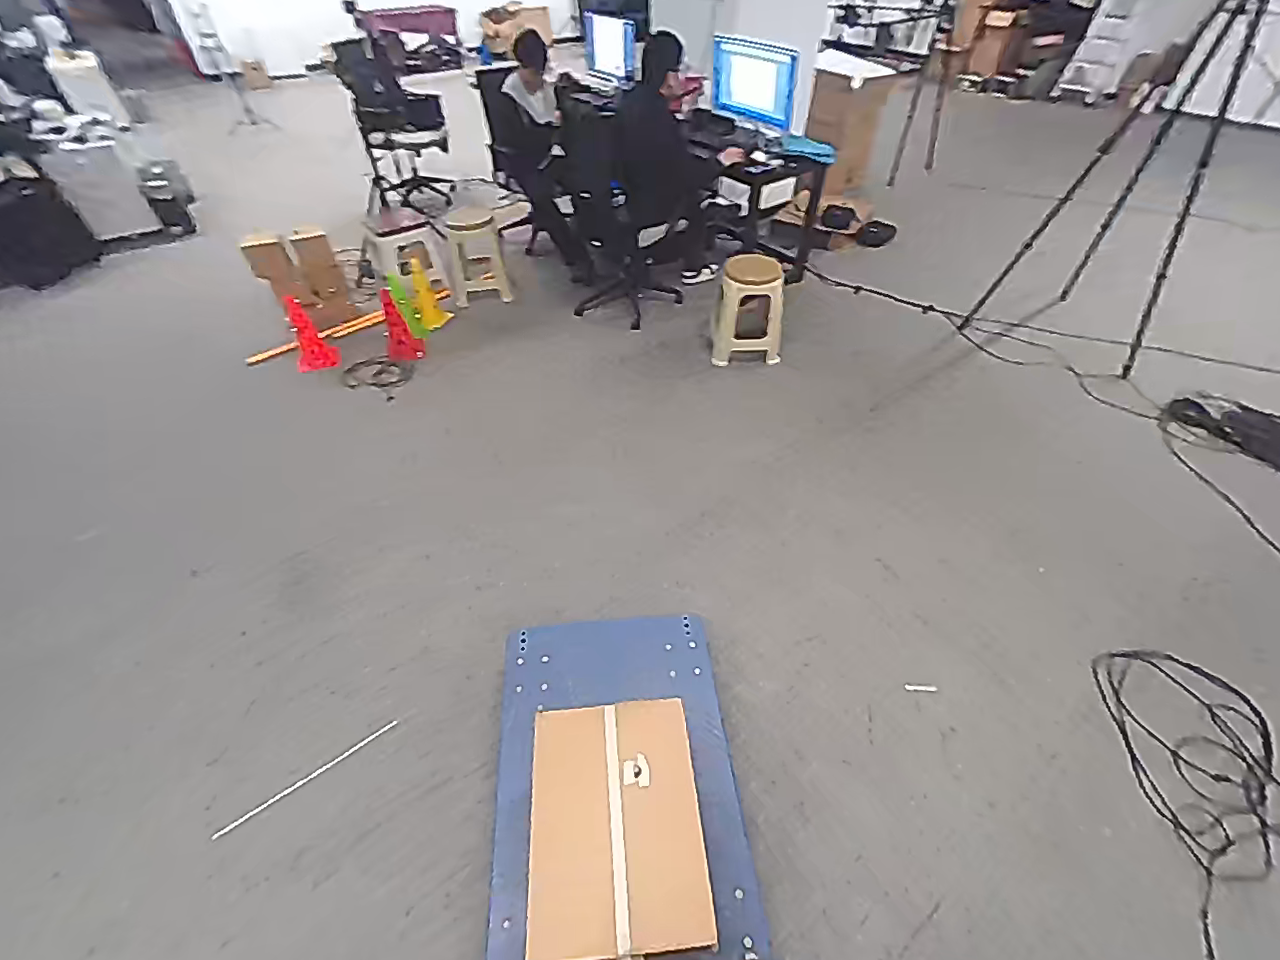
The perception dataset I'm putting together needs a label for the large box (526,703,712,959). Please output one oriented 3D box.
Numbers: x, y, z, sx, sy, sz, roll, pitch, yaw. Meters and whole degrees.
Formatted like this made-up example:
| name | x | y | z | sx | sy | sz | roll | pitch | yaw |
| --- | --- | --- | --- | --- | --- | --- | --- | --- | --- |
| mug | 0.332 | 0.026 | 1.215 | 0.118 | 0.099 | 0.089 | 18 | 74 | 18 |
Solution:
| name | x | y | z | sx | sy | sz | roll | pitch | yaw |
| --- | --- | --- | --- | --- | --- | --- | --- | --- | --- |
| large box | -0.050 | 0.738 | 1.122 | 0.320 | 0.320 | 0.408 | -4 | 45 | -4 |
